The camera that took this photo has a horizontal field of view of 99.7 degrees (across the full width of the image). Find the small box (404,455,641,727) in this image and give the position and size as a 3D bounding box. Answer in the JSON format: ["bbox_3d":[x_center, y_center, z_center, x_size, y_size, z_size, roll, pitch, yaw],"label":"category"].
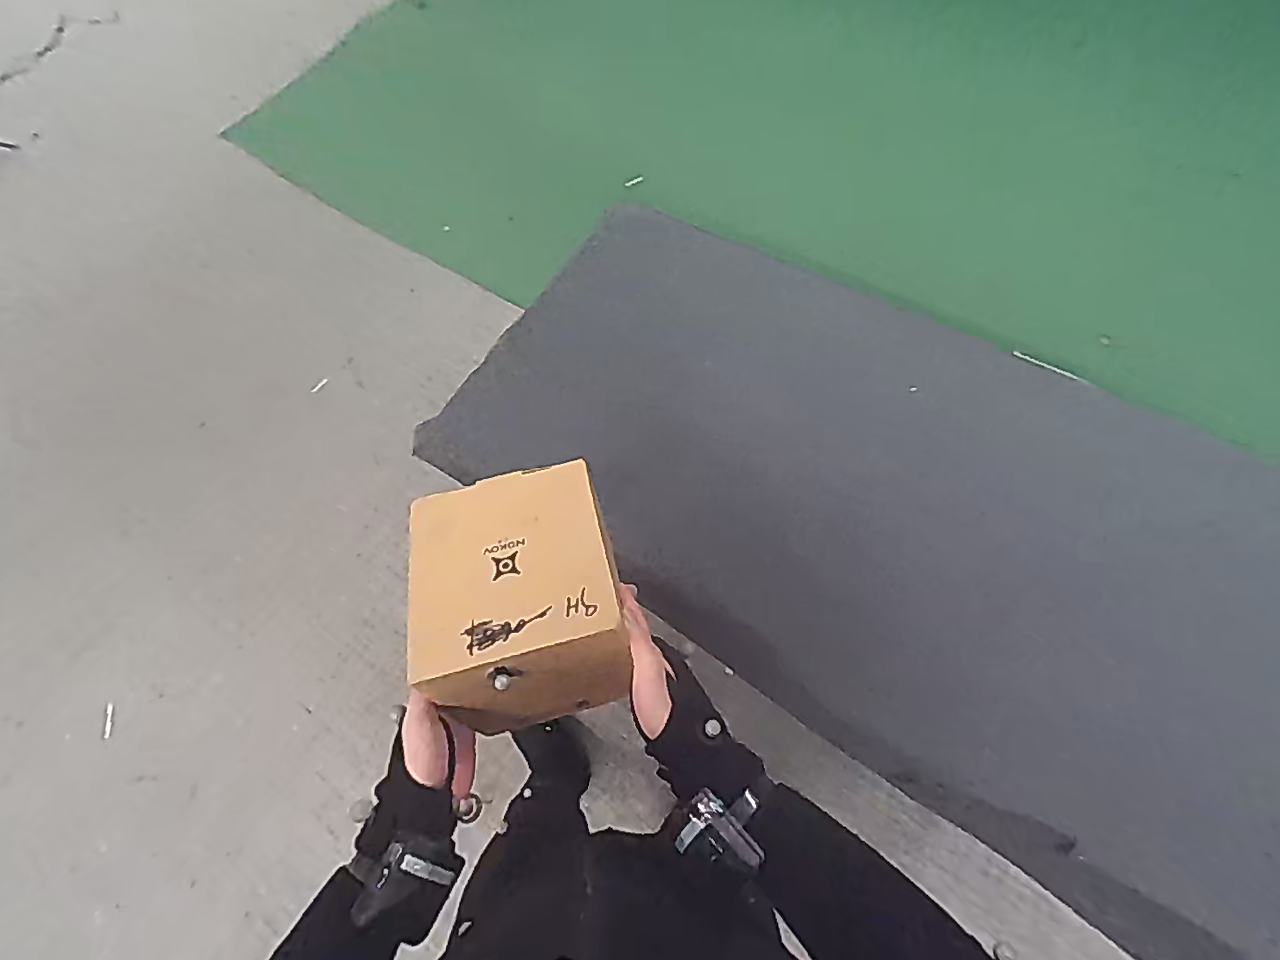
[{"bbox_3d":[-0.102,0.108,0.515,0.168,0.176,0.179,-14,52,-2],"label":"small box"}]
